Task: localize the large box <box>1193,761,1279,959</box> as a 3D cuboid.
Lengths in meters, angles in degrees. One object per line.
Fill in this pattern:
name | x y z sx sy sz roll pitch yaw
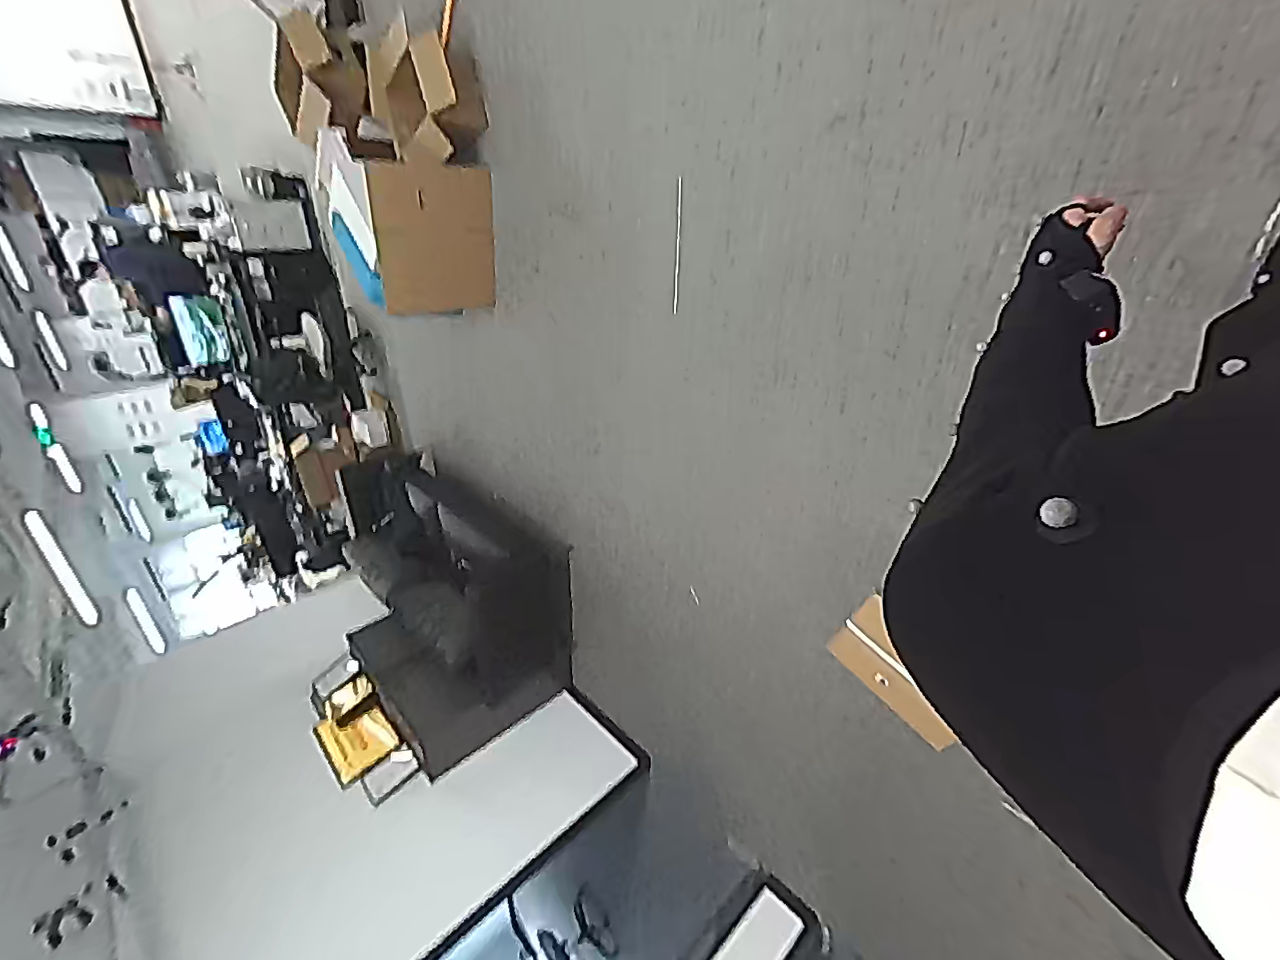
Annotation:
large box | 1.489 0.852 1.132 0.408 0.320 0.320 -17 96 50
